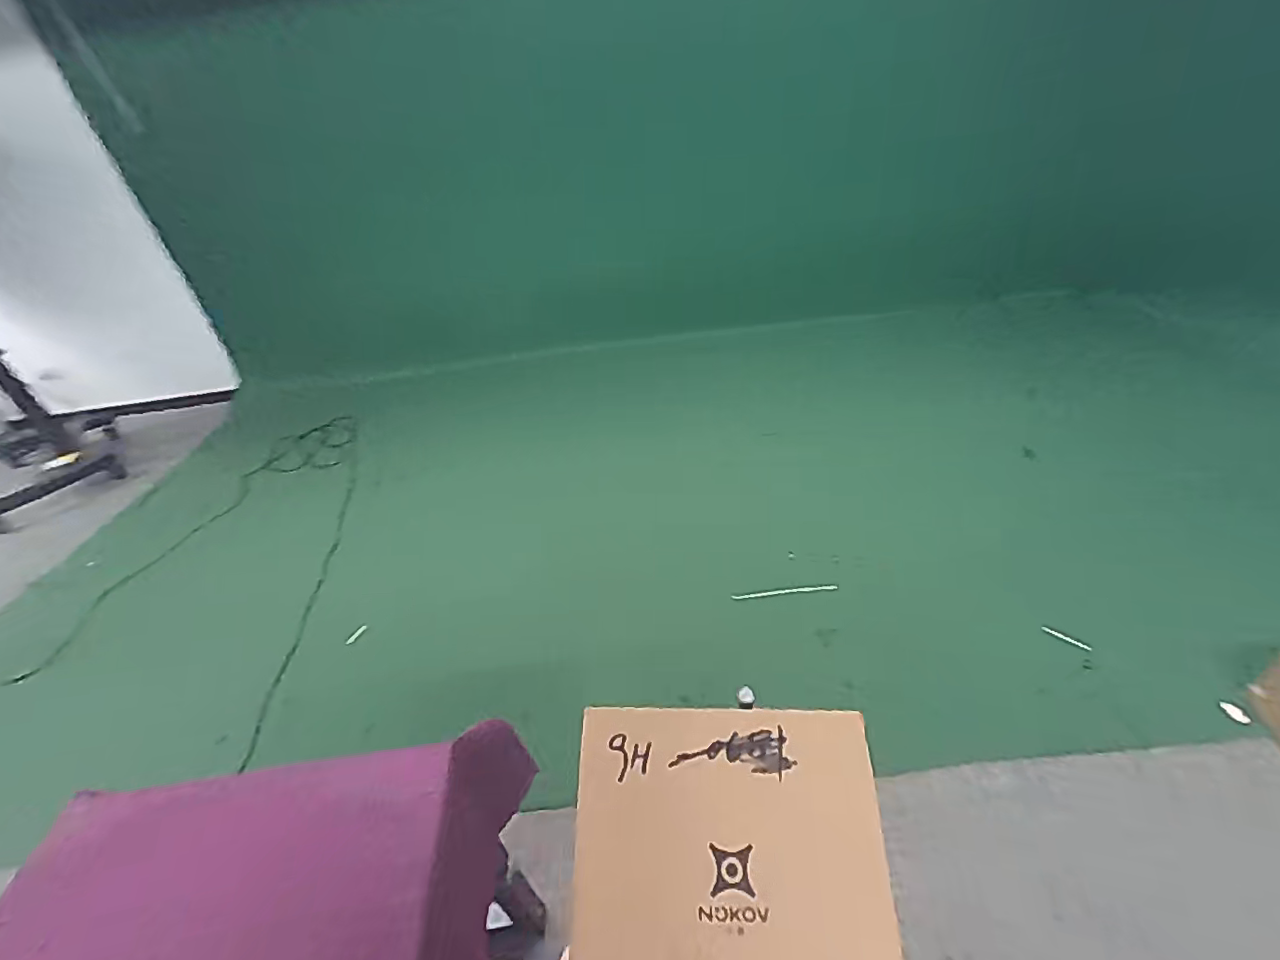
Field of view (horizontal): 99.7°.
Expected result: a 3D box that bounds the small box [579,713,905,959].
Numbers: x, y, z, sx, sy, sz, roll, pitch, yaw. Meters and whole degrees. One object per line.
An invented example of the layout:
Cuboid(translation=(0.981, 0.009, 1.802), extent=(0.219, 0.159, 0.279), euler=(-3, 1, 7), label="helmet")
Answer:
Cuboid(translation=(0.054, 0.254, 0.353), extent=(0.168, 0.176, 0.179), euler=(1, 64, 2), label="small box")
